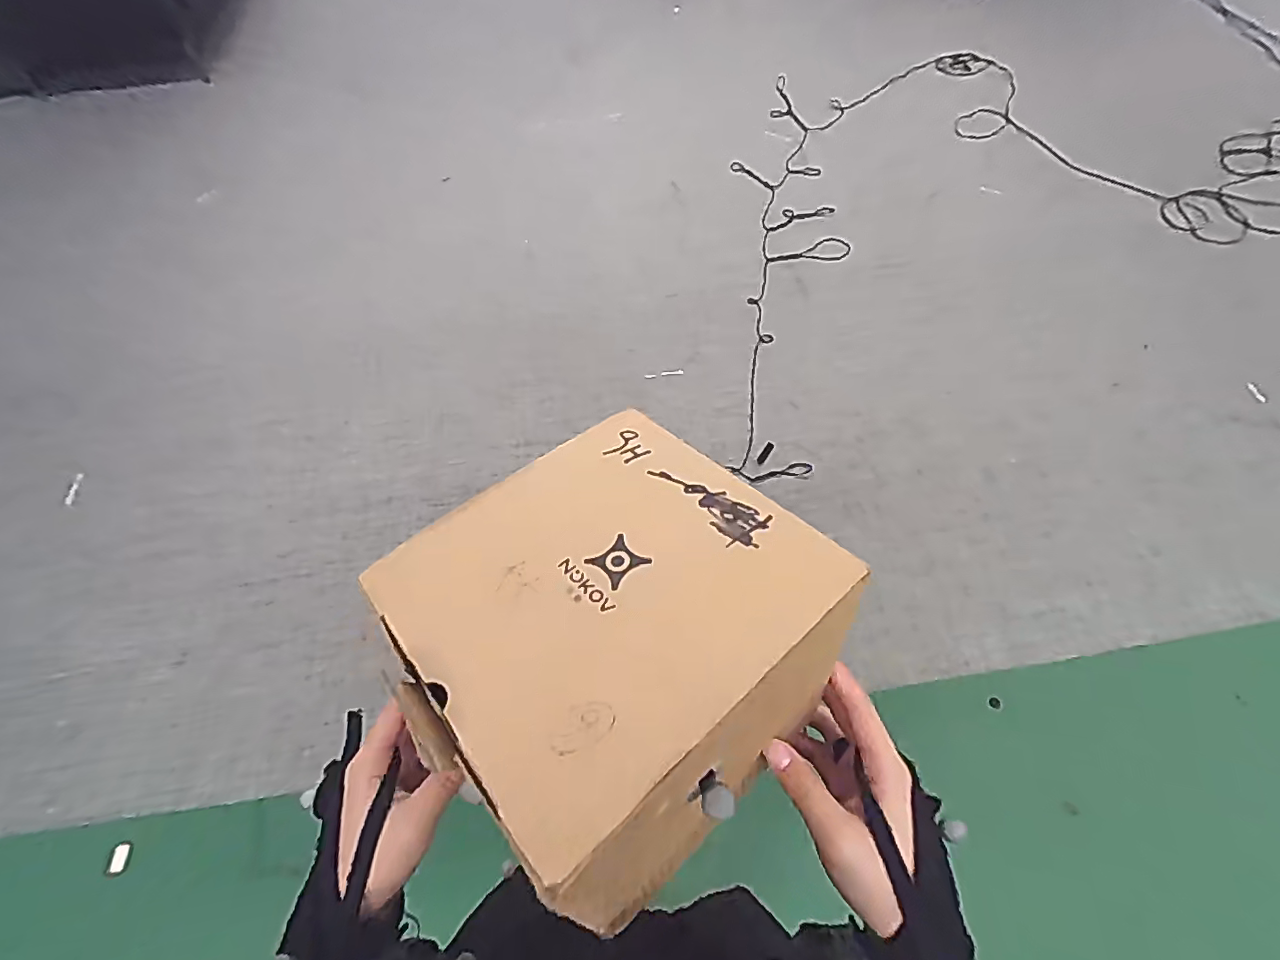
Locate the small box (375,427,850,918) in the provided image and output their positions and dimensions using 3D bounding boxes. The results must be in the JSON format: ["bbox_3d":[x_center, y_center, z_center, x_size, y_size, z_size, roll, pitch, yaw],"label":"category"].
[{"bbox_3d":[-0.009,0.106,0.315,0.179,0.176,0.168,-35,52,-25],"label":"small box"}]
